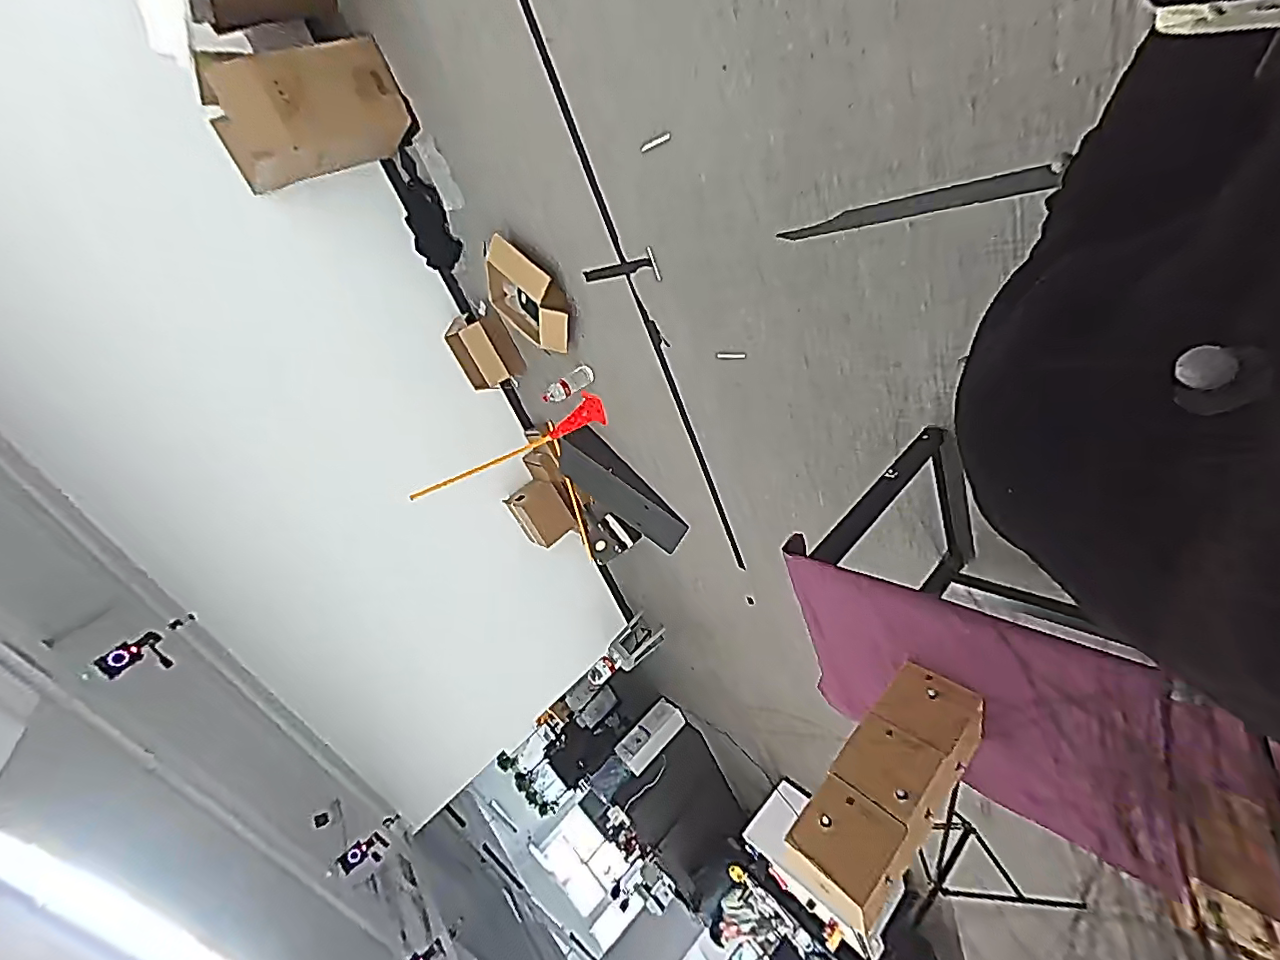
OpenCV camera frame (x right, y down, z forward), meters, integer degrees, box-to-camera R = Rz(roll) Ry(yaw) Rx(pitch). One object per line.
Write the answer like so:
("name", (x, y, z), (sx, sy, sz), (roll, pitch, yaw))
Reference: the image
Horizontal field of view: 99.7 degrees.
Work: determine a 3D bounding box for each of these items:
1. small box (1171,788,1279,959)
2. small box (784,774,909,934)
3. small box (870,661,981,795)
("small box", (0.939, 0.614, 0.806), (0.168, 0.176, 0.179), (17, 138, 50))
("small box", (0.411, 0.727, 1.067), (0.168, 0.176, 0.179), (24, 144, 46))
("small box", (0.643, 0.548, 1.213), (0.168, 0.176, 0.179), (20, 141, 46))
